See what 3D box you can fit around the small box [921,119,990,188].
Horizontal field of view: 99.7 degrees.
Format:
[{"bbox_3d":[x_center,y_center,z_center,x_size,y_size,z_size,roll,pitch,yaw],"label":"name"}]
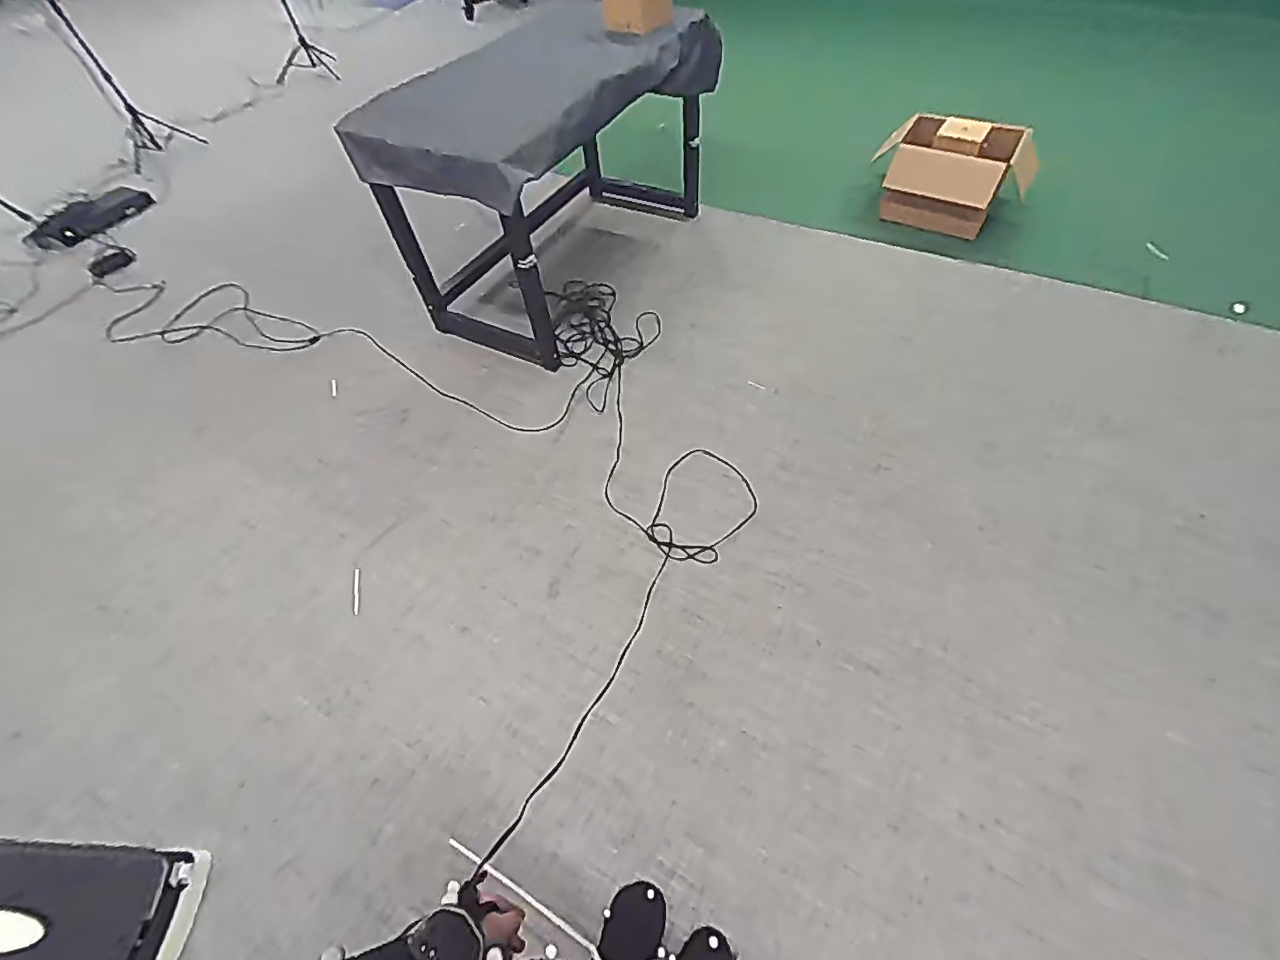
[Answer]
[{"bbox_3d":[1.248,-1.294,2.146,0.168,0.176,0.179,27,60,21],"label":"small box"}]
